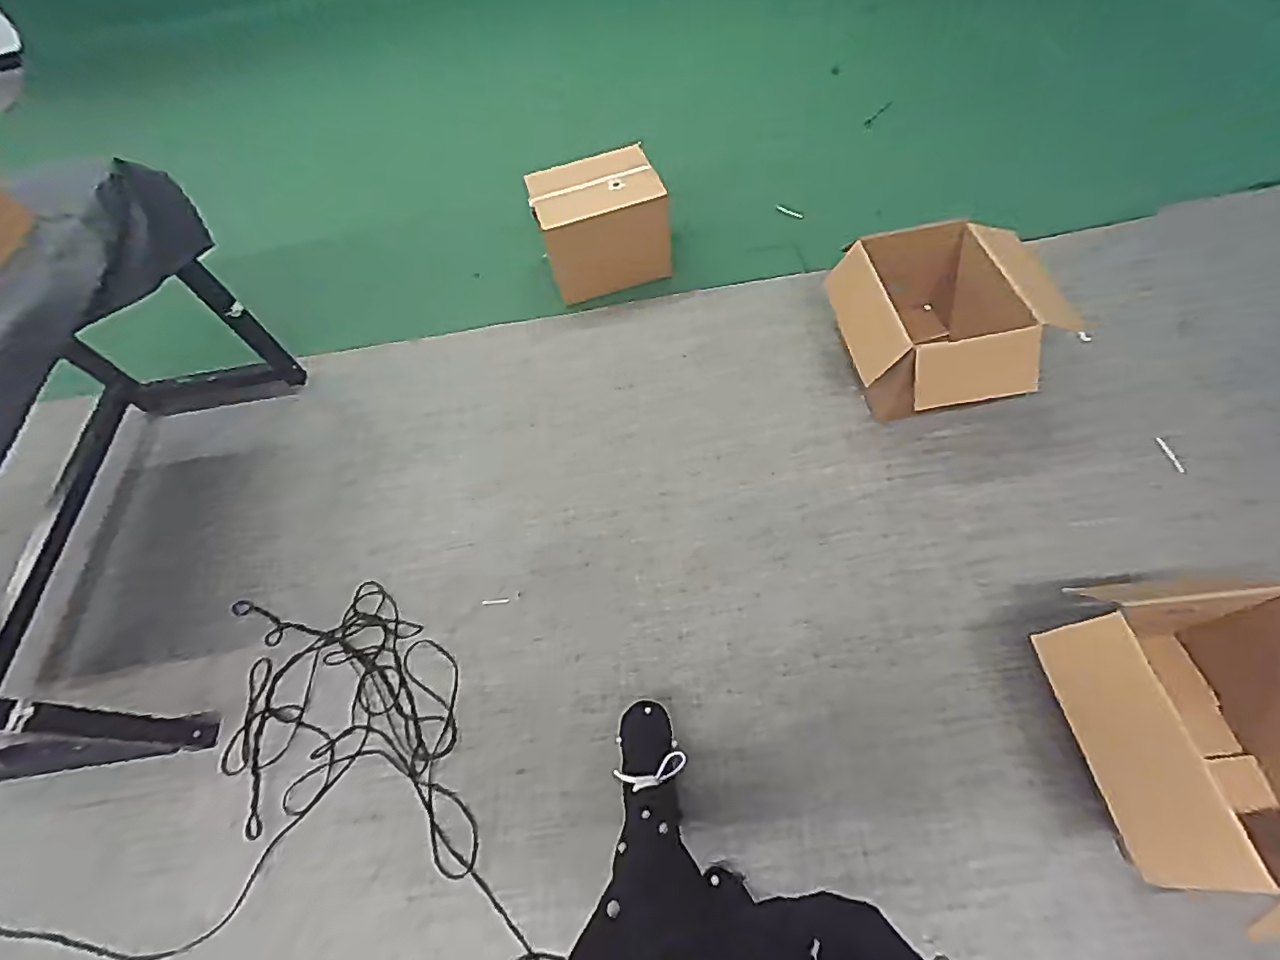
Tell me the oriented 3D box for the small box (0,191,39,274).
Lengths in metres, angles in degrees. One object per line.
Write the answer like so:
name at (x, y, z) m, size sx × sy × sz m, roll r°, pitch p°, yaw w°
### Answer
small box at (-1.336, -0.497, 1.033) m, size 0.168 × 0.176 × 0.179 m, roll -7°, pitch 59°, yaw 3°
